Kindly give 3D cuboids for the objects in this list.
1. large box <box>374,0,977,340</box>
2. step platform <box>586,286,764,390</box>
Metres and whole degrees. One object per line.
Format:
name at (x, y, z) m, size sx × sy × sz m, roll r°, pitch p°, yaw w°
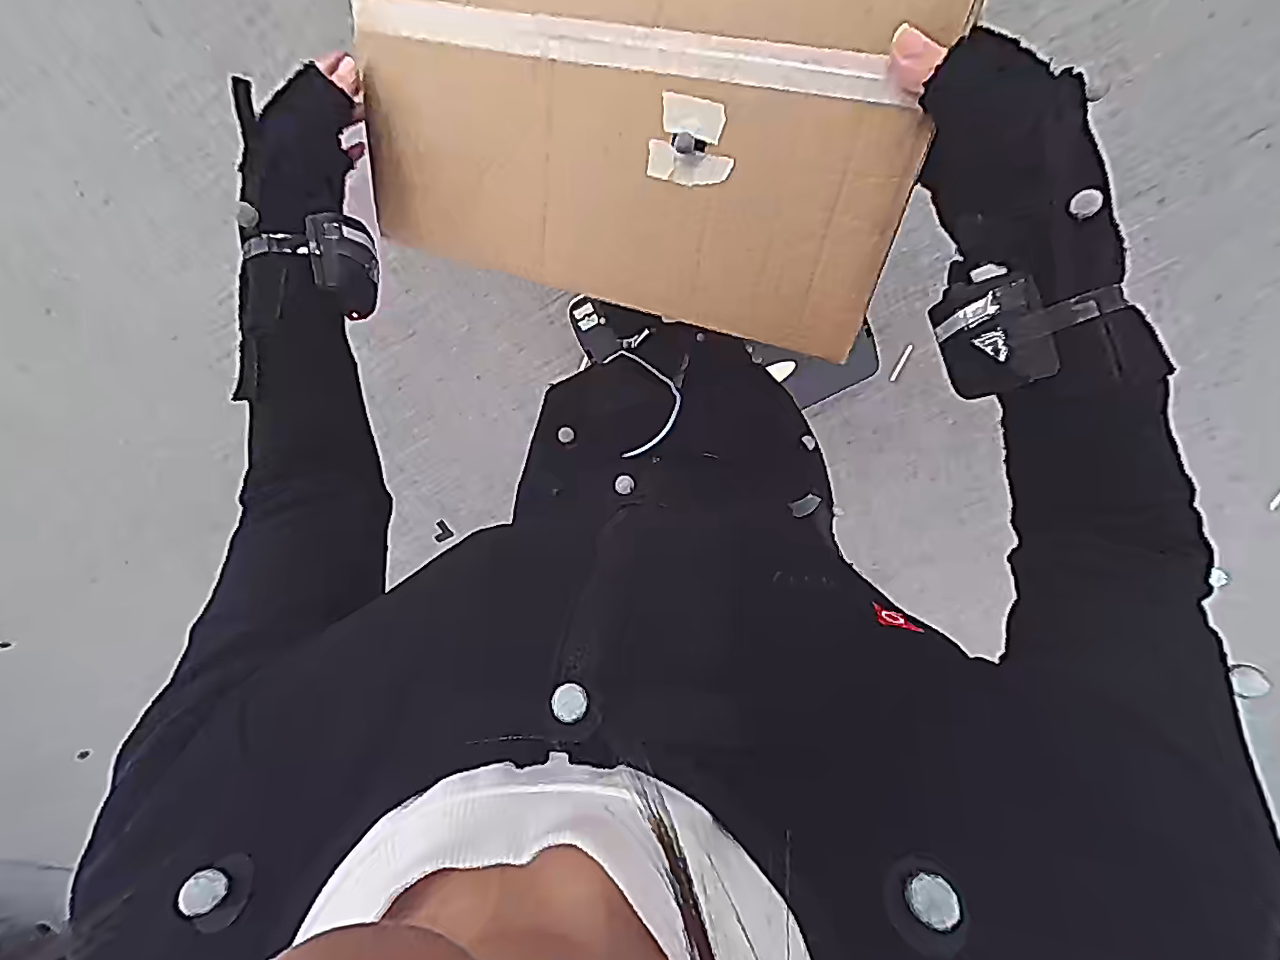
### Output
large box at (0.041, -0.349, 0.468) m, size 0.408 × 0.320 × 0.320 m, roll 18°, pitch 125°, yaw 14°
step platform at (0.203, -0.507, 1.363) m, size 0.684 × 0.204 × 0.286 m, roll -28°, pitch 112°, yaw 14°
